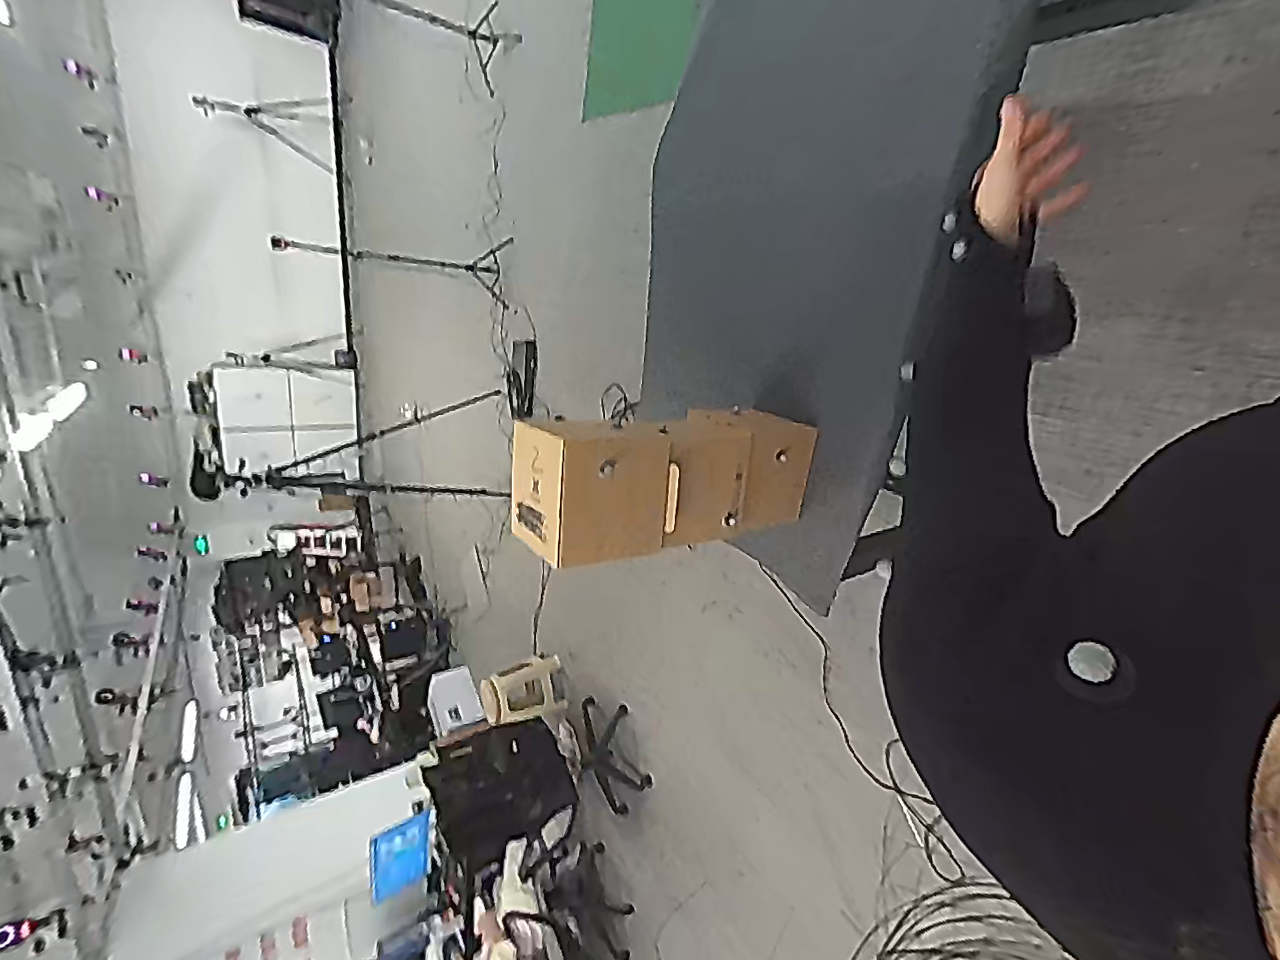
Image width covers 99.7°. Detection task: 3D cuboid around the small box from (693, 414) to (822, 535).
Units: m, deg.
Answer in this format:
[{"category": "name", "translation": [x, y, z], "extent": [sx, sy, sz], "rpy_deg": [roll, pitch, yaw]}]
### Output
[{"category": "small box", "translation": [0.203, -0.021, 0.979], "extent": [0.168, 0.176, 0.179], "rpy_deg": [29, 119, 51]}]

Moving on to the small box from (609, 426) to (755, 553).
[{"category": "small box", "translation": [0.067, 0.004, 0.889], "extent": [0.179, 0.176, 0.168], "rpy_deg": [24, 114, 54]}]
